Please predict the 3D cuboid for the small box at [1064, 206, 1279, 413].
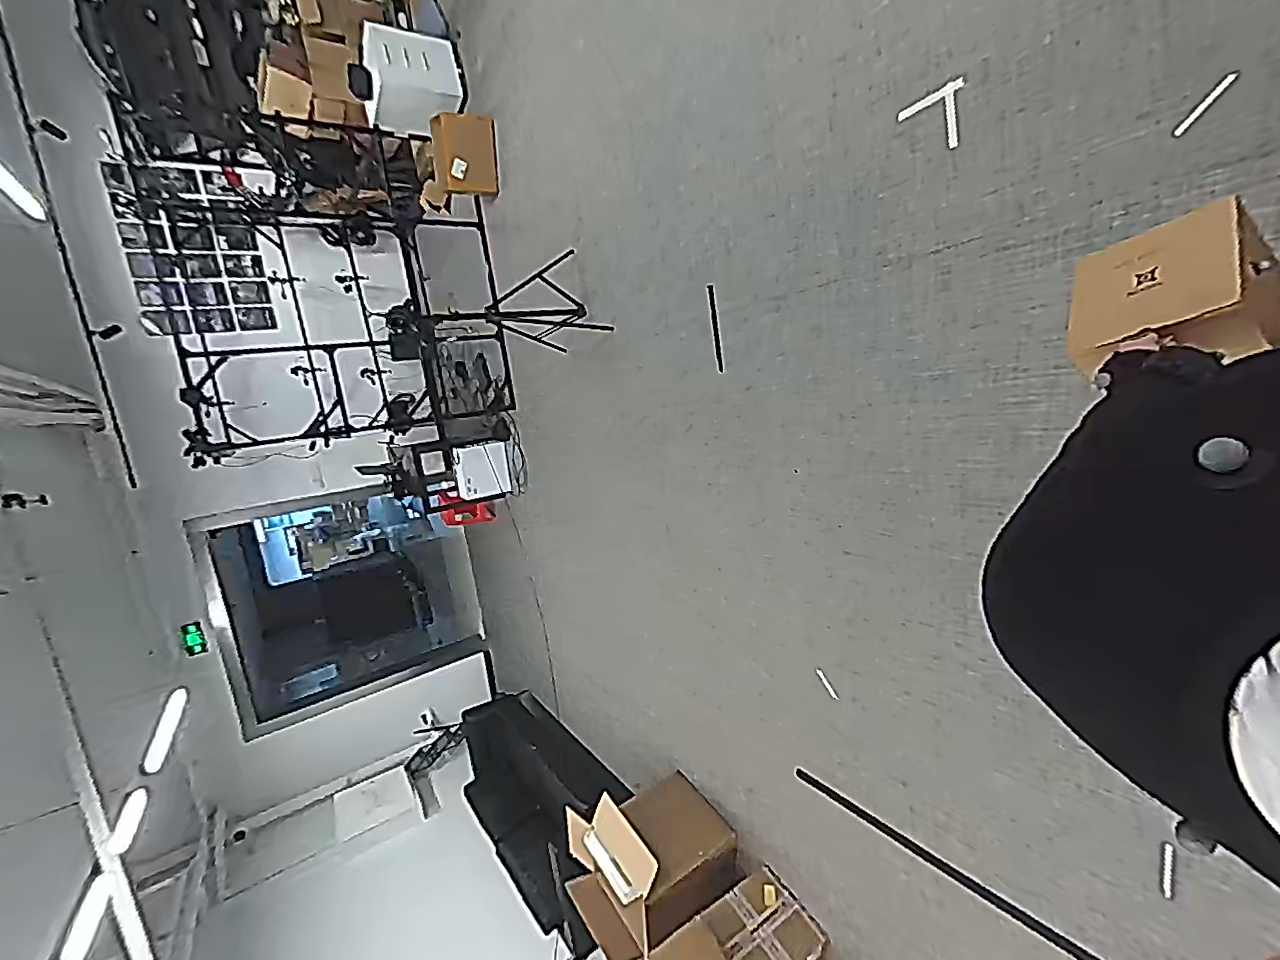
[{"bbox_3d":[0.705,-0.208,0.718,0.168,0.176,0.179,-17,45,59],"label":"small box"}]
